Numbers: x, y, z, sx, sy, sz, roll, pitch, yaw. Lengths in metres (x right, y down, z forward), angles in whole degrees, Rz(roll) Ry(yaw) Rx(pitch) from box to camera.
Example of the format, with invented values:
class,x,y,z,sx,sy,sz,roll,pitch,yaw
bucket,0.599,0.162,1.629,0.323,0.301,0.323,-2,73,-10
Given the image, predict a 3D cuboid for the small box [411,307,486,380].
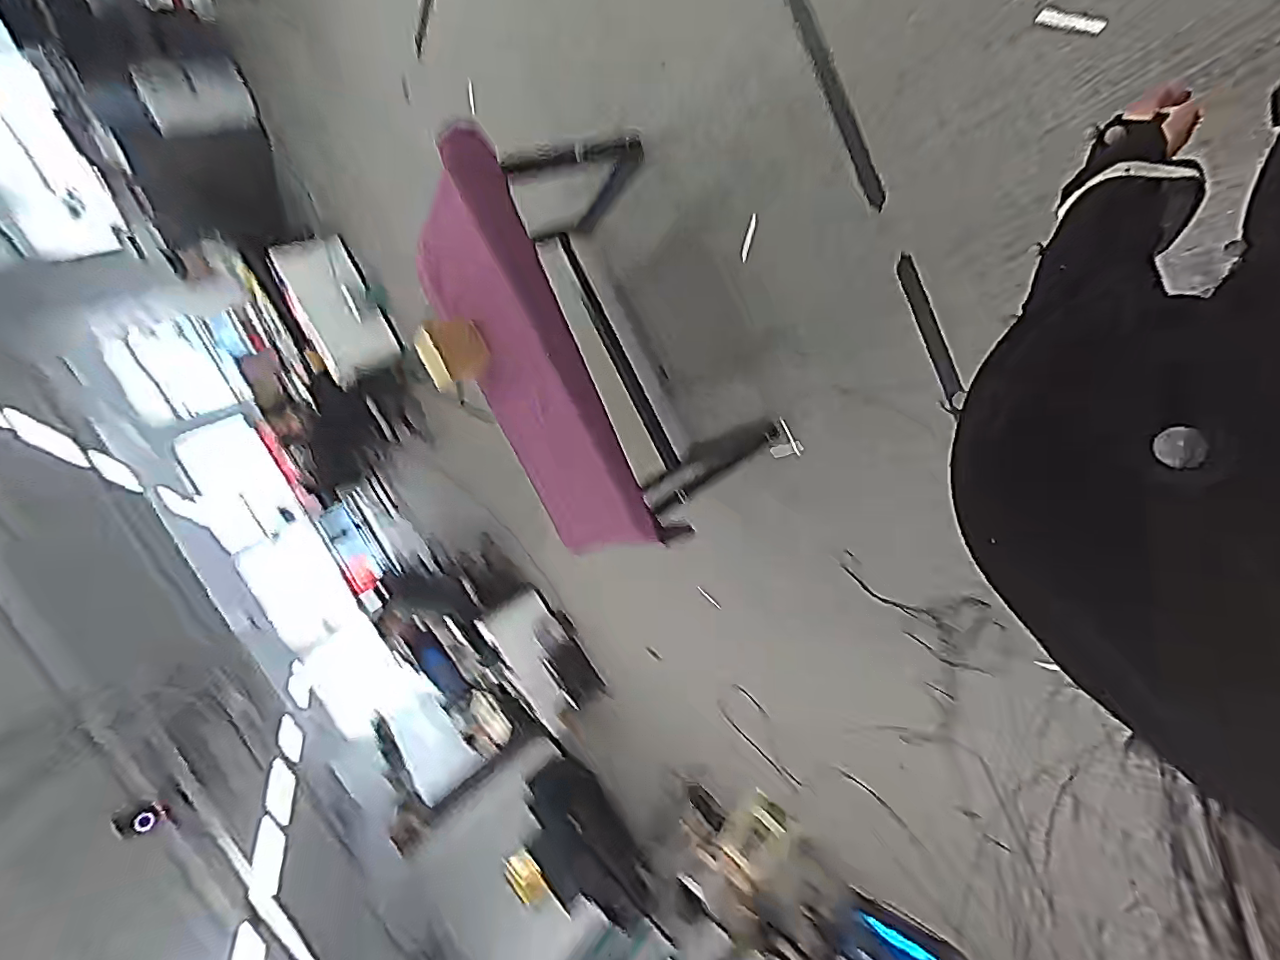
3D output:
class,x,y,z,sx,sy,sz,roll,pitch,yaw
small box,-0.651,-0.466,1.846,0.179,0.176,0.168,-14,106,57
